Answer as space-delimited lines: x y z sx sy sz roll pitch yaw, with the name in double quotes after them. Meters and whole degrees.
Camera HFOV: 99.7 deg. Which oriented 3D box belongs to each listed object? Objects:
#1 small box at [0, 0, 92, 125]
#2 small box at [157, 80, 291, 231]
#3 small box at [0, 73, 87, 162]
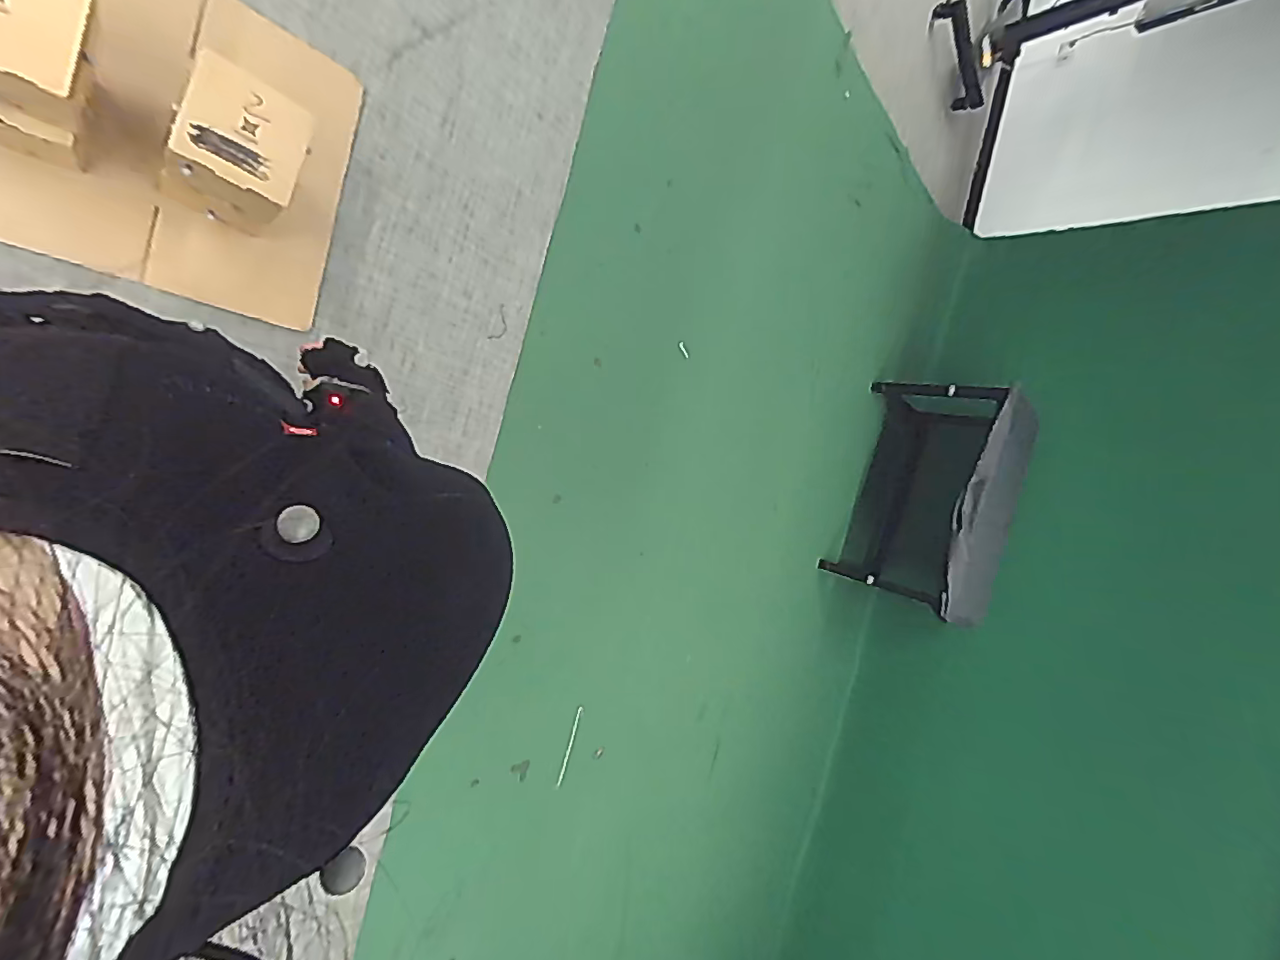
-0.898 -0.647 0.754 0.168 0.176 0.179 13 90 -45 "small box"
-0.822 -0.622 1.064 0.168 0.176 0.179 19 87 -43 "small box"
-1.018 -0.648 0.867 0.168 0.176 0.179 9 93 -44 "small box"
